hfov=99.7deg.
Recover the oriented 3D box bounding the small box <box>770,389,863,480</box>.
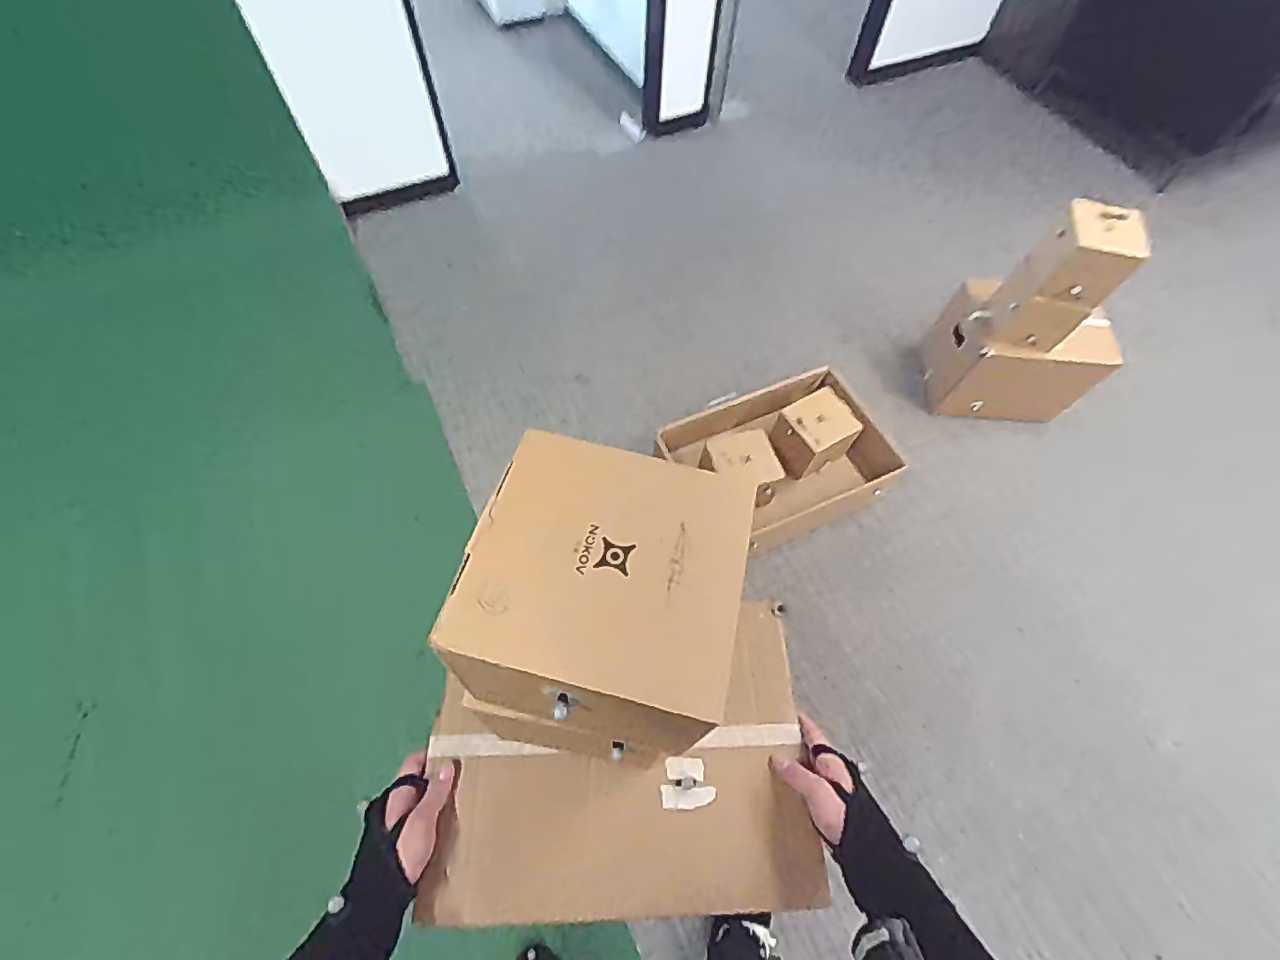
[{"bbox_3d":[0.512,-0.131,1.596,0.179,0.176,0.168,-26,65,-15],"label":"small box"}]

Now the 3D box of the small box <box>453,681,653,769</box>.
[{"bbox_3d":[-0.057,0.176,0.537,0.179,0.176,0.168,10,56,2],"label":"small box"}]

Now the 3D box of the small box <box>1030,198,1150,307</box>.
[{"bbox_3d":[1.131,-0.575,1.376,0.168,0.176,0.179,14,64,5],"label":"small box"}]

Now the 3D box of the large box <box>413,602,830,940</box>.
[{"bbox_3d":[-0.030,0.364,0.709,0.408,0.320,0.320,0,58,-5],"label":"large box"}]

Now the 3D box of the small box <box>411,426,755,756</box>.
[{"bbox_3d":[-0.030,0.090,0.401,0.179,0.176,0.168,15,57,5],"label":"small box"}]
